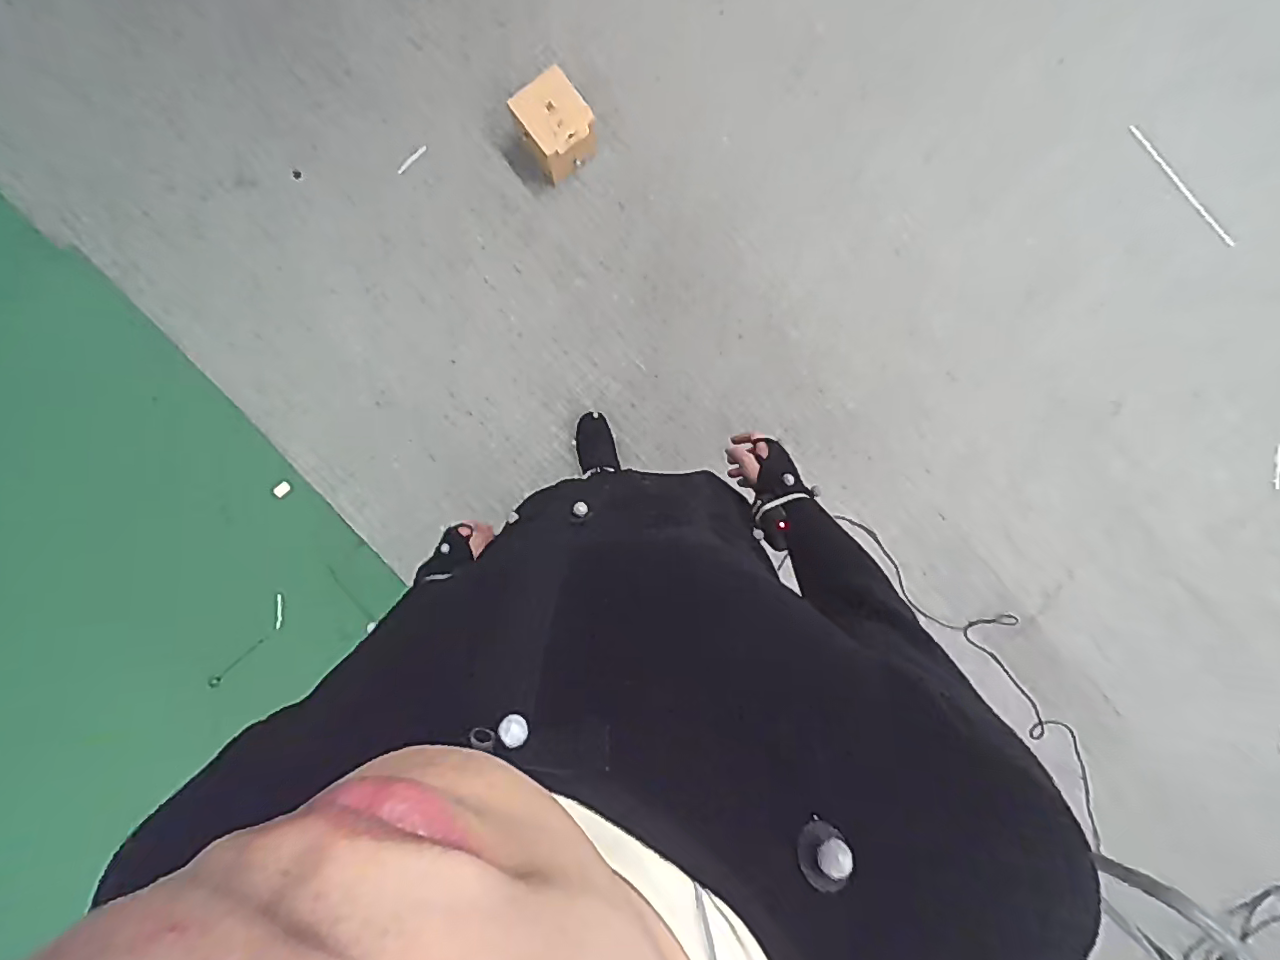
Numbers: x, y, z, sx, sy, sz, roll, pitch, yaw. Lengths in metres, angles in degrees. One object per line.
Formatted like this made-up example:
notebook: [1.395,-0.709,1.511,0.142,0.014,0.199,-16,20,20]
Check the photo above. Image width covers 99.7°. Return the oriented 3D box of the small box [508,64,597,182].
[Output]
small box: [-0.230,-0.963,1.476,0.168,0.176,0.179,-31,95,3]
